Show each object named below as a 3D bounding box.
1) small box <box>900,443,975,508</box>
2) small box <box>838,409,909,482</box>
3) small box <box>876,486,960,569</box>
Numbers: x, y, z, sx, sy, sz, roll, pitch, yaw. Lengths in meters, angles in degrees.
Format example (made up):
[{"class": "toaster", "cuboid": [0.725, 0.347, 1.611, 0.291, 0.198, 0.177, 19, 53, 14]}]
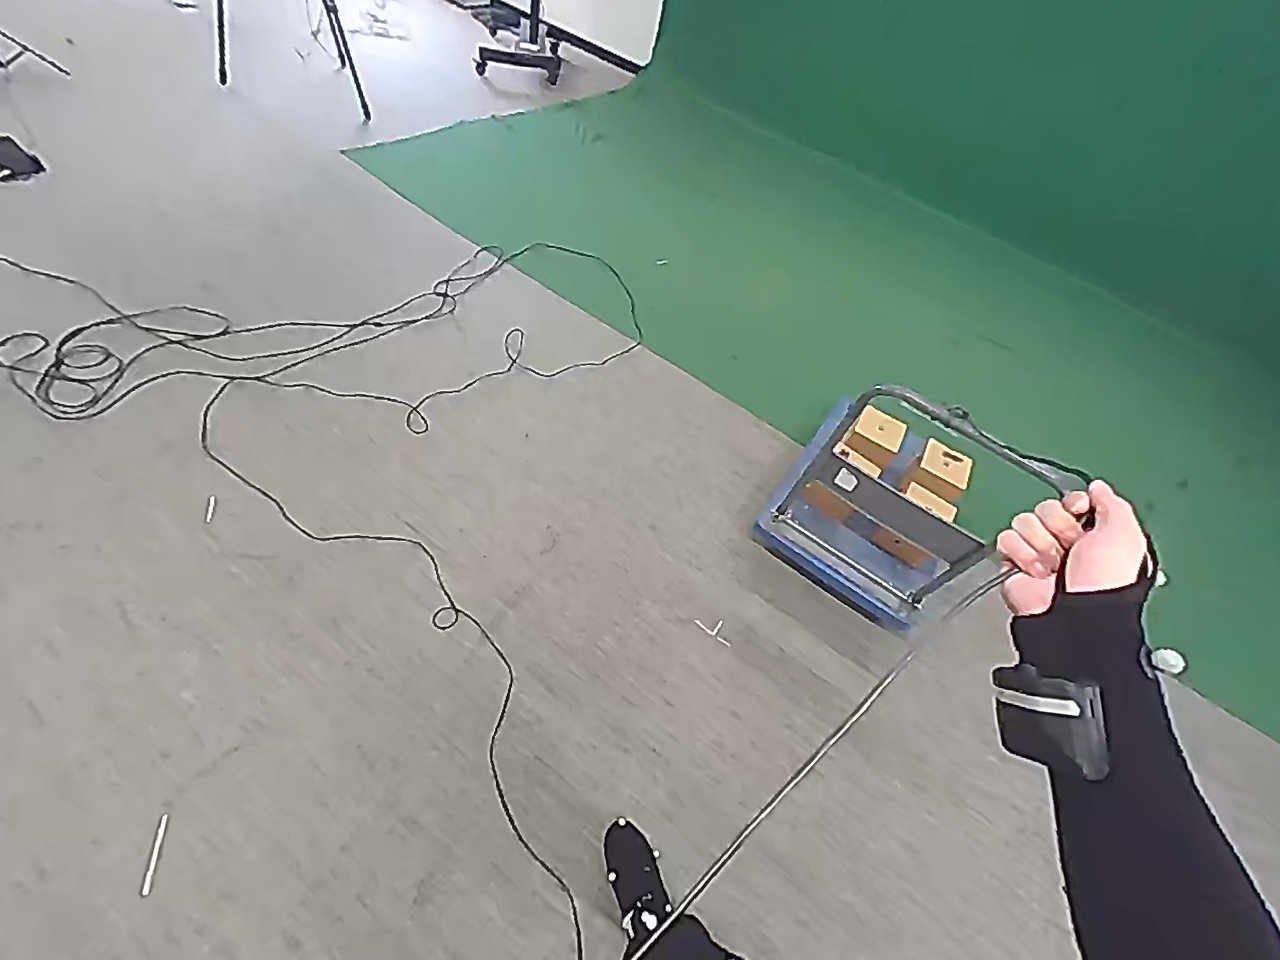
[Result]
[{"class": "small box", "cuboid": [1.070, 0.004, 1.952, 0.168, 0.176, 0.179, 31, 53, 12]}, {"class": "small box", "cuboid": [0.858, -0.123, 2.000, 0.168, 0.176, 0.179, 32, 52, 11]}, {"class": "small box", "cuboid": [0.917, 0.160, 1.793, 0.168, 0.176, 0.179, 35, 54, 14]}]
